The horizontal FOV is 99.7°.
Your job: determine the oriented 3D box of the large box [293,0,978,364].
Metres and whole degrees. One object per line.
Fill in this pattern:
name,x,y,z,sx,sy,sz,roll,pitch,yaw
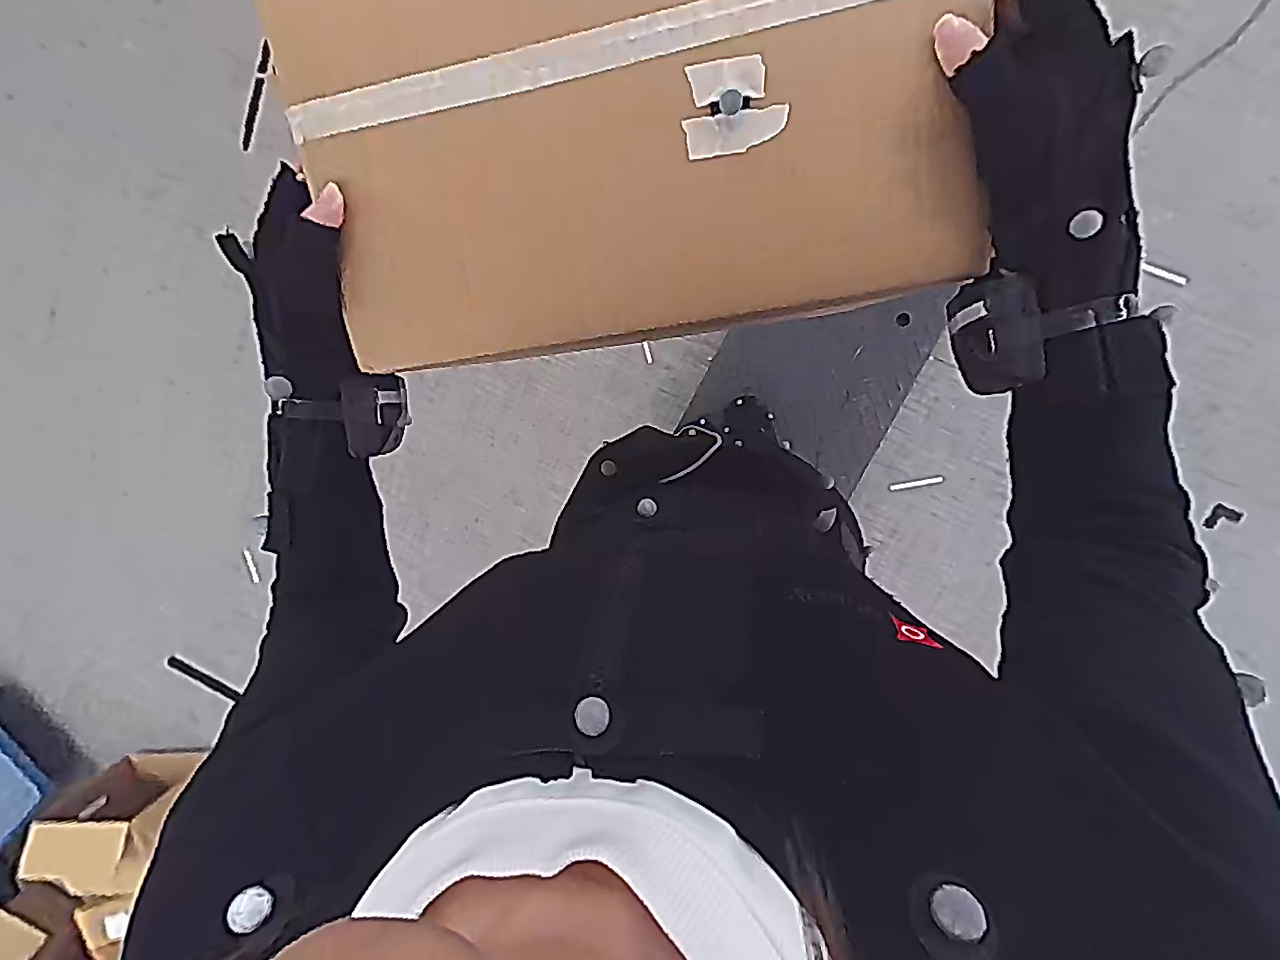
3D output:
large box,0.004,-0.290,0.468,0.408,0.320,0.320,-7,104,9
